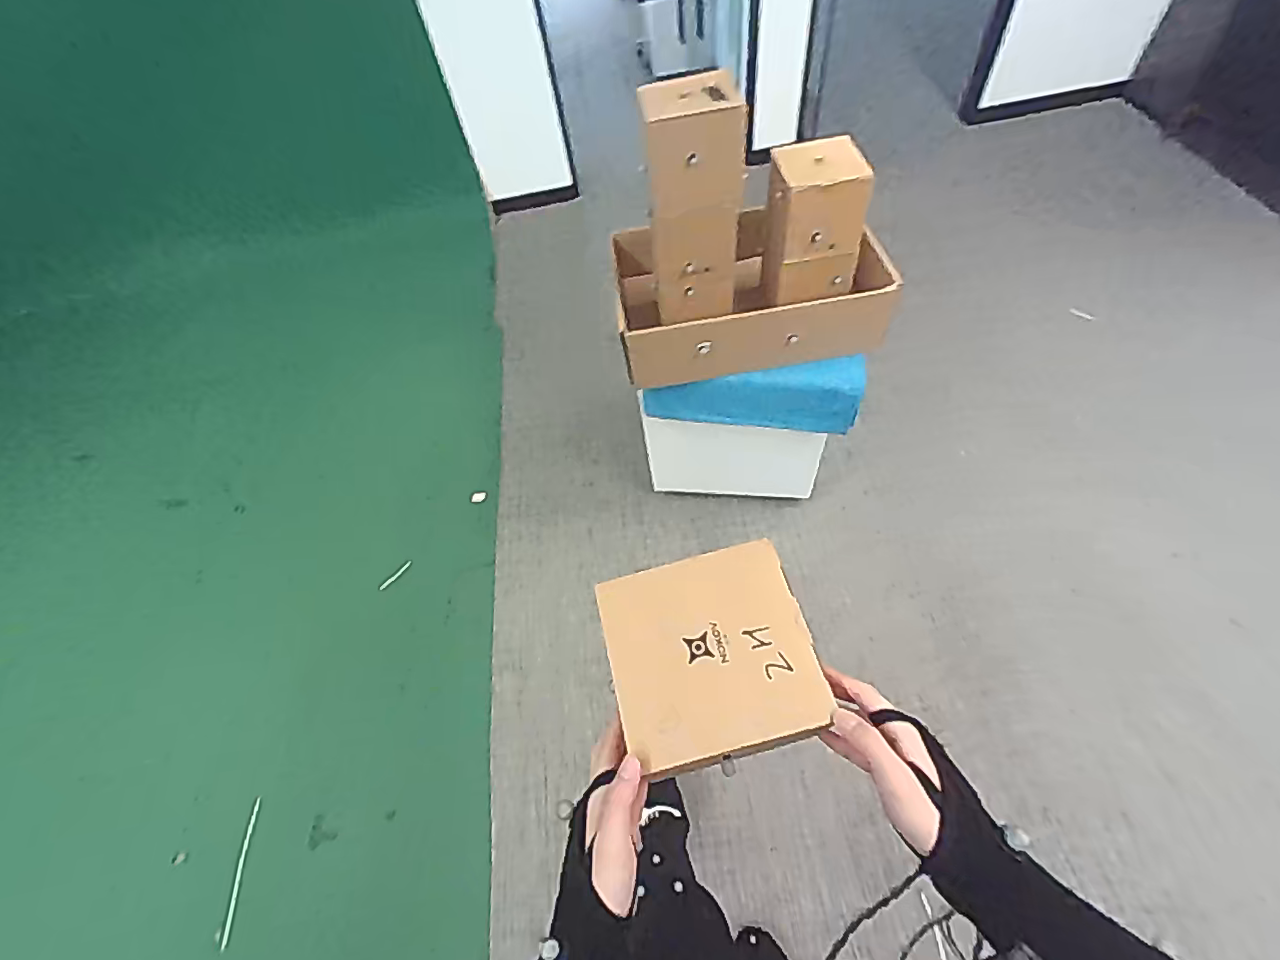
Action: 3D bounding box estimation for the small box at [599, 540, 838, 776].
[{"bbox_3d":[0.070,0.184,0.537,0.179,0.176,0.168,-14,59,0],"label":"small box"}]

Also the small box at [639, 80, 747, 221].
[{"bbox_3d":[0.100,-0.631,1.043,0.179,0.176,0.168,-9,53,3],"label":"small box"}]

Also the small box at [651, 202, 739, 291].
[{"bbox_3d":[0.115,-0.541,1.179,0.168,0.176,0.179,-8,55,2],"label":"small box"}]

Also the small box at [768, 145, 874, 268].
[{"bbox_3d":[0.381,-0.591,1.173,0.168,0.176,0.179,-8,54,3],"label":"small box"}]
